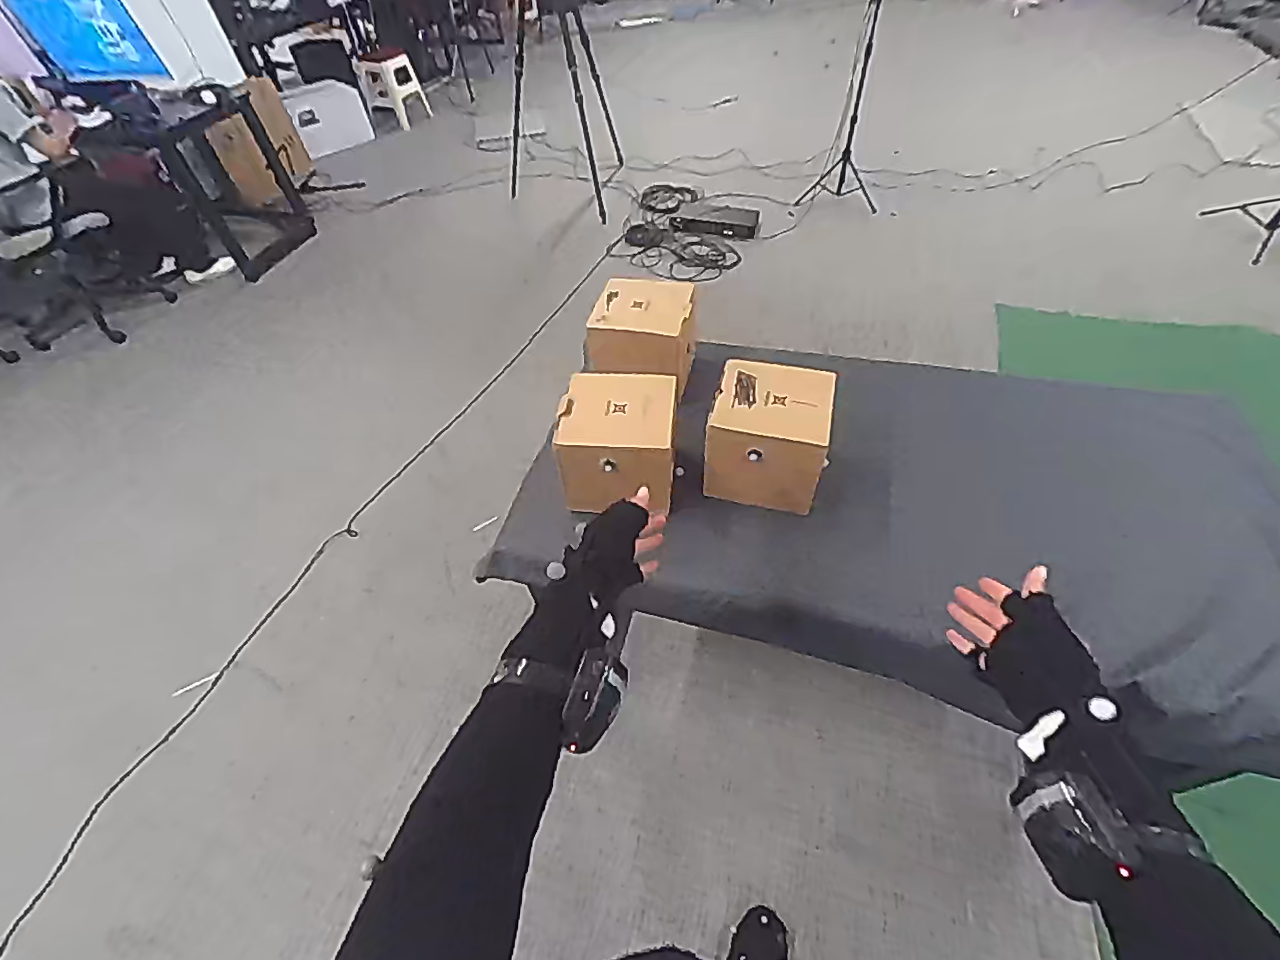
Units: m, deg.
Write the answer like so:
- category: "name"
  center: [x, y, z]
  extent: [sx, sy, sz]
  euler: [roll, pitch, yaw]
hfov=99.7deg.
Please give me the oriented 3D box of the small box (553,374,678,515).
- category: "small box"
  center: [-0.031, -0.056, 0.898]
  extent: [0.179, 0.176, 0.168]
  euler: [4, 50, 6]

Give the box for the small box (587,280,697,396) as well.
- category: "small box"
  center: [0.010, -0.269, 1.073]
  extent: [0.179, 0.176, 0.168]
  euler: [10, 52, 11]
